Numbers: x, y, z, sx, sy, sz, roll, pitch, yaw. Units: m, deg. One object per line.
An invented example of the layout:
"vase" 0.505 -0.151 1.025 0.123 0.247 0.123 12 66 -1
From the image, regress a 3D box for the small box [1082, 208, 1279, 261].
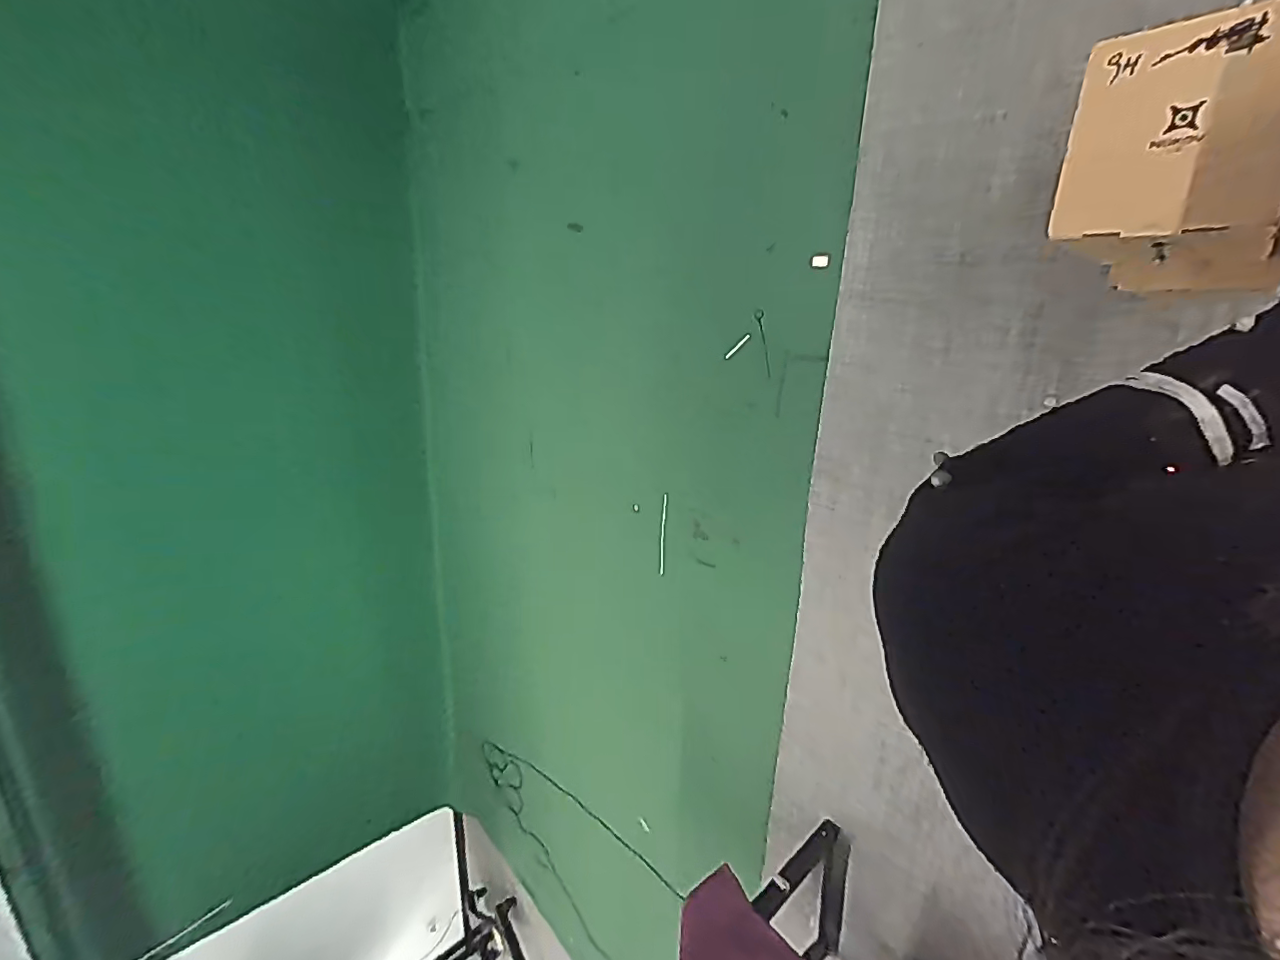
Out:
"small box" 0.669 -0.369 0.654 0.168 0.176 0.179 19 115 44

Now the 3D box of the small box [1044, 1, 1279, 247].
"small box" 0.548 -0.335 0.547 0.168 0.176 0.179 20 116 44
